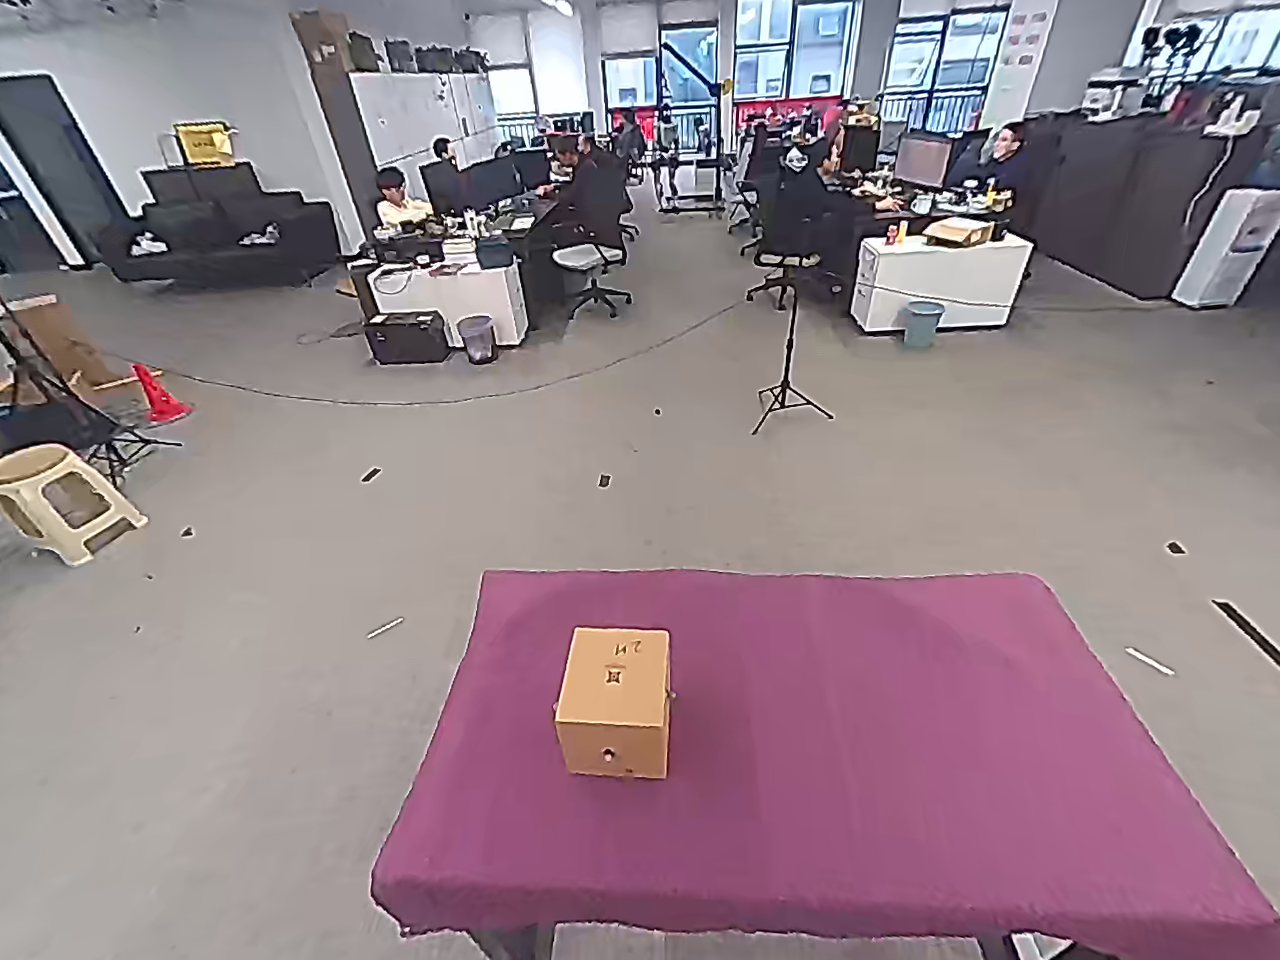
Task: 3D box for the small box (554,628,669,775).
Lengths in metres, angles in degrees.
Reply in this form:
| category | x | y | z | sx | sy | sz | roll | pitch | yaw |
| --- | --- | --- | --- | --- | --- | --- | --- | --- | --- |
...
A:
| category | x | y | z | sx | sy | sz | roll | pitch | yaw |
| --- | --- | --- | --- | --- | --- | --- | --- | --- | --- |
| small box | -0.038 | 0.377 | 0.921 | 0.168 | 0.176 | 0.179 | 1 | 37 | 6 |
